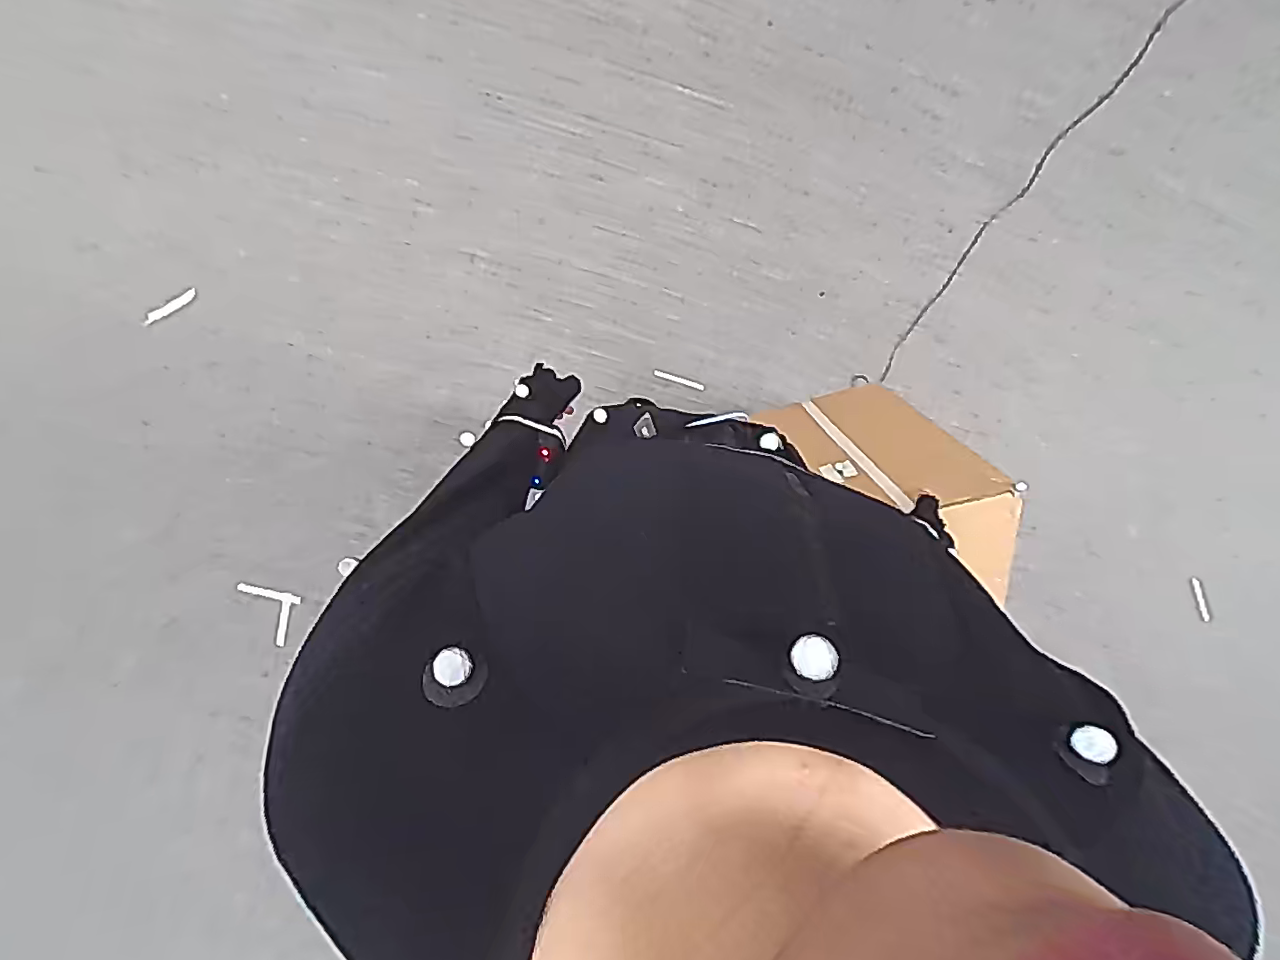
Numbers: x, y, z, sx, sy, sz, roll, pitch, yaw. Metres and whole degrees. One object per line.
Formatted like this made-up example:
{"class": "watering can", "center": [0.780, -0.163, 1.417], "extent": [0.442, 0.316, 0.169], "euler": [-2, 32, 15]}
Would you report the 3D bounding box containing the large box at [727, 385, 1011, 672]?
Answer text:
{"class": "large box", "center": [0.375, 0.069, 0.998], "extent": [0.320, 0.408, 0.320], "euler": [-14, 123, 1]}
